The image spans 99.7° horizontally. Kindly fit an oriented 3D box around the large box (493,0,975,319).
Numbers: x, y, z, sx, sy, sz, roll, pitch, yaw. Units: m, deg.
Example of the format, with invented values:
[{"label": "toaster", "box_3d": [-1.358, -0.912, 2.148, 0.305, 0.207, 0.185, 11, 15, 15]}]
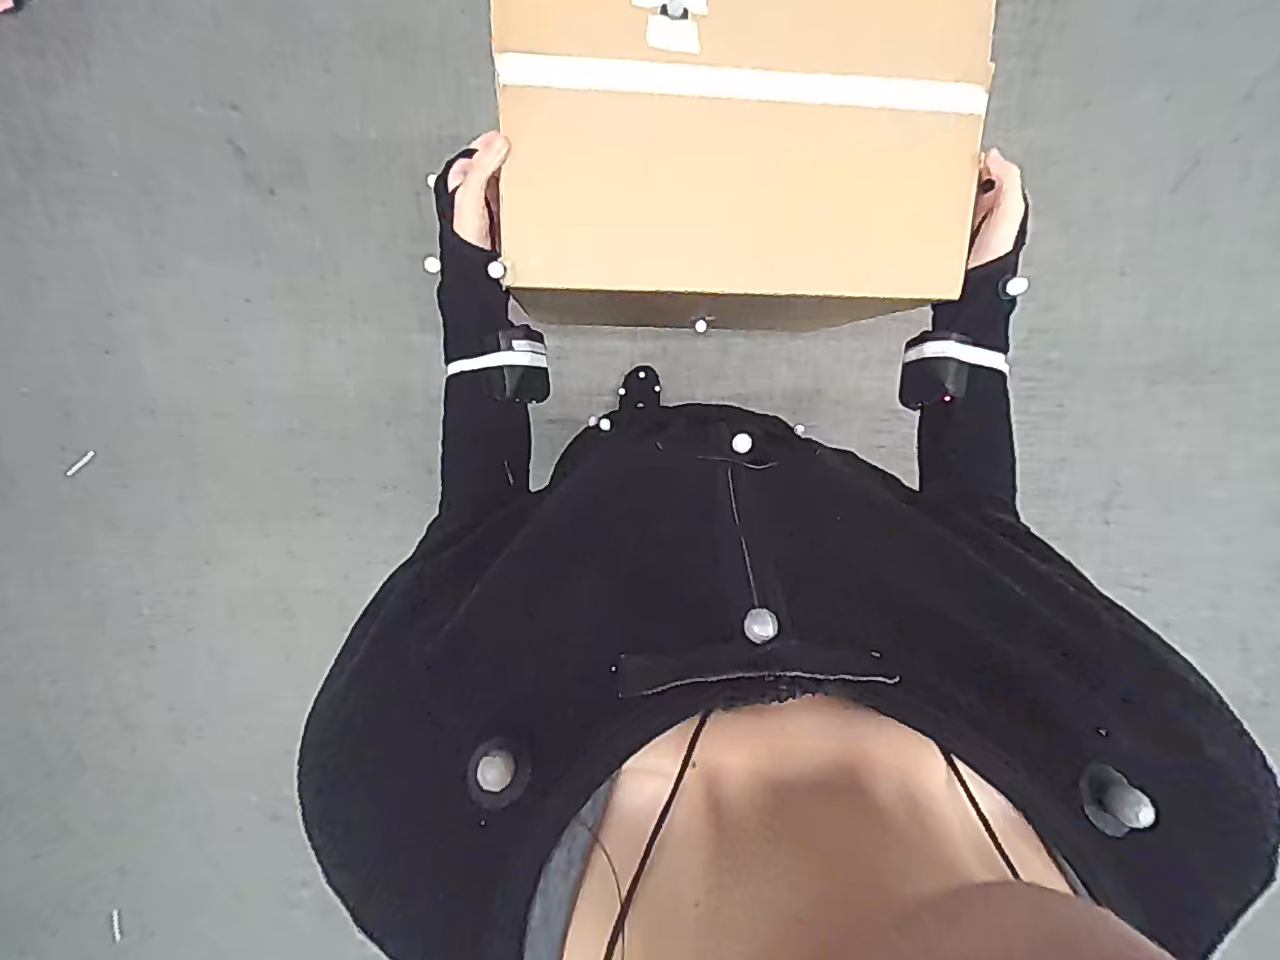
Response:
[{"label": "large box", "box_3d": [0.070, -0.348, 0.596, 0.408, 0.320, 0.320, 0, 101, -5]}]
